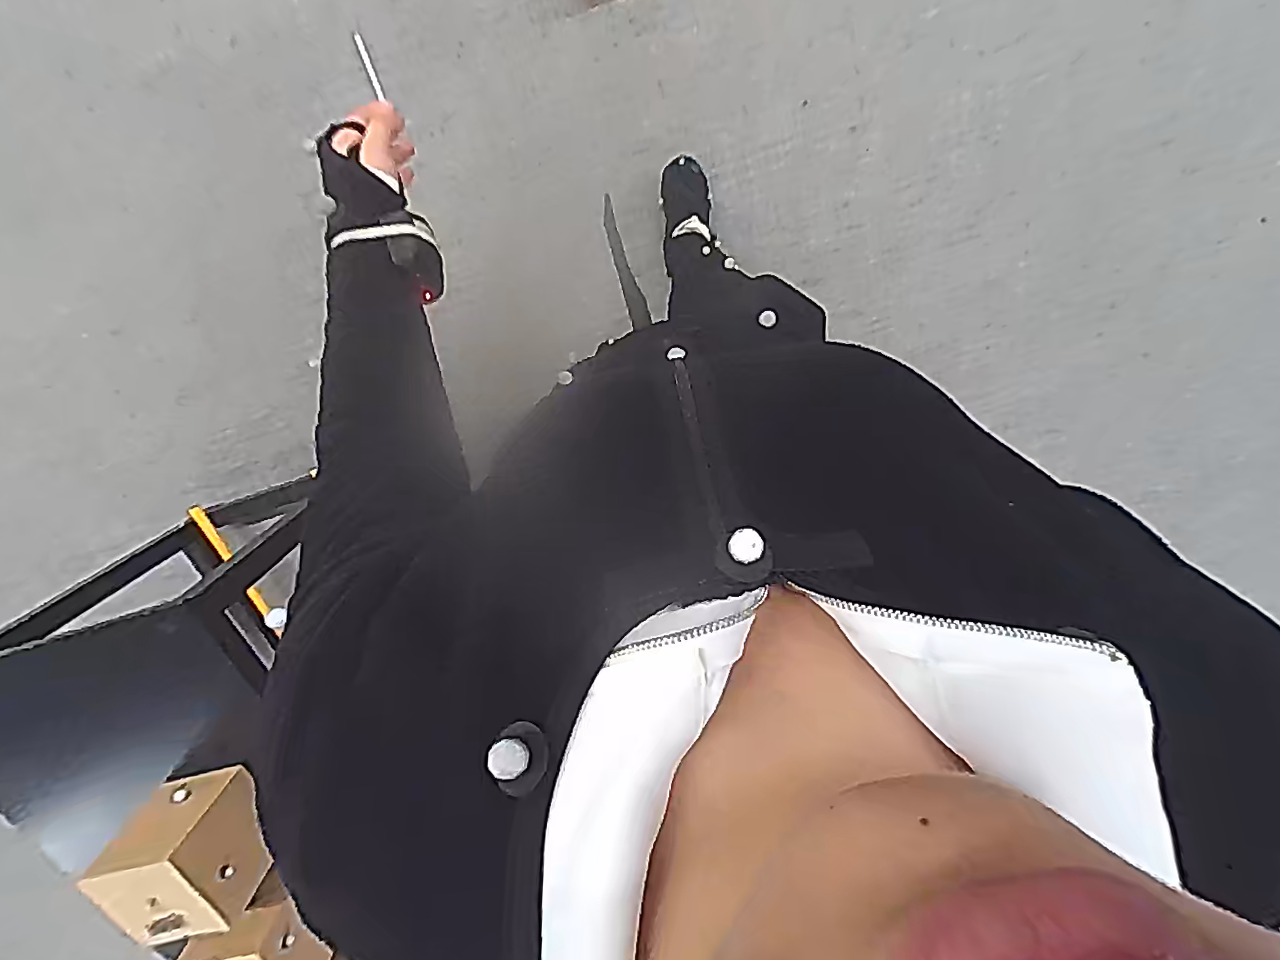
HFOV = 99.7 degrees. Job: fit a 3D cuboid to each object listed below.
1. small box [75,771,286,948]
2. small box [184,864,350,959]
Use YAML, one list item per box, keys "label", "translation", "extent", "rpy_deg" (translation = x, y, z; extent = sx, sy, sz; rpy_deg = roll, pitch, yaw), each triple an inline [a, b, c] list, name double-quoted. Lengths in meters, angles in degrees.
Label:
- label: "small box"
  translation: [-0.748, 0.630, 0.908]
  extent: [0.168, 0.176, 0.179]
  rpy_deg: [-16, 112, 6]
- label: "small box"
  translation: [-0.683, 0.844, 0.999]
  extent: [0.168, 0.176, 0.179]
  rpy_deg: [-15, 113, 6]
